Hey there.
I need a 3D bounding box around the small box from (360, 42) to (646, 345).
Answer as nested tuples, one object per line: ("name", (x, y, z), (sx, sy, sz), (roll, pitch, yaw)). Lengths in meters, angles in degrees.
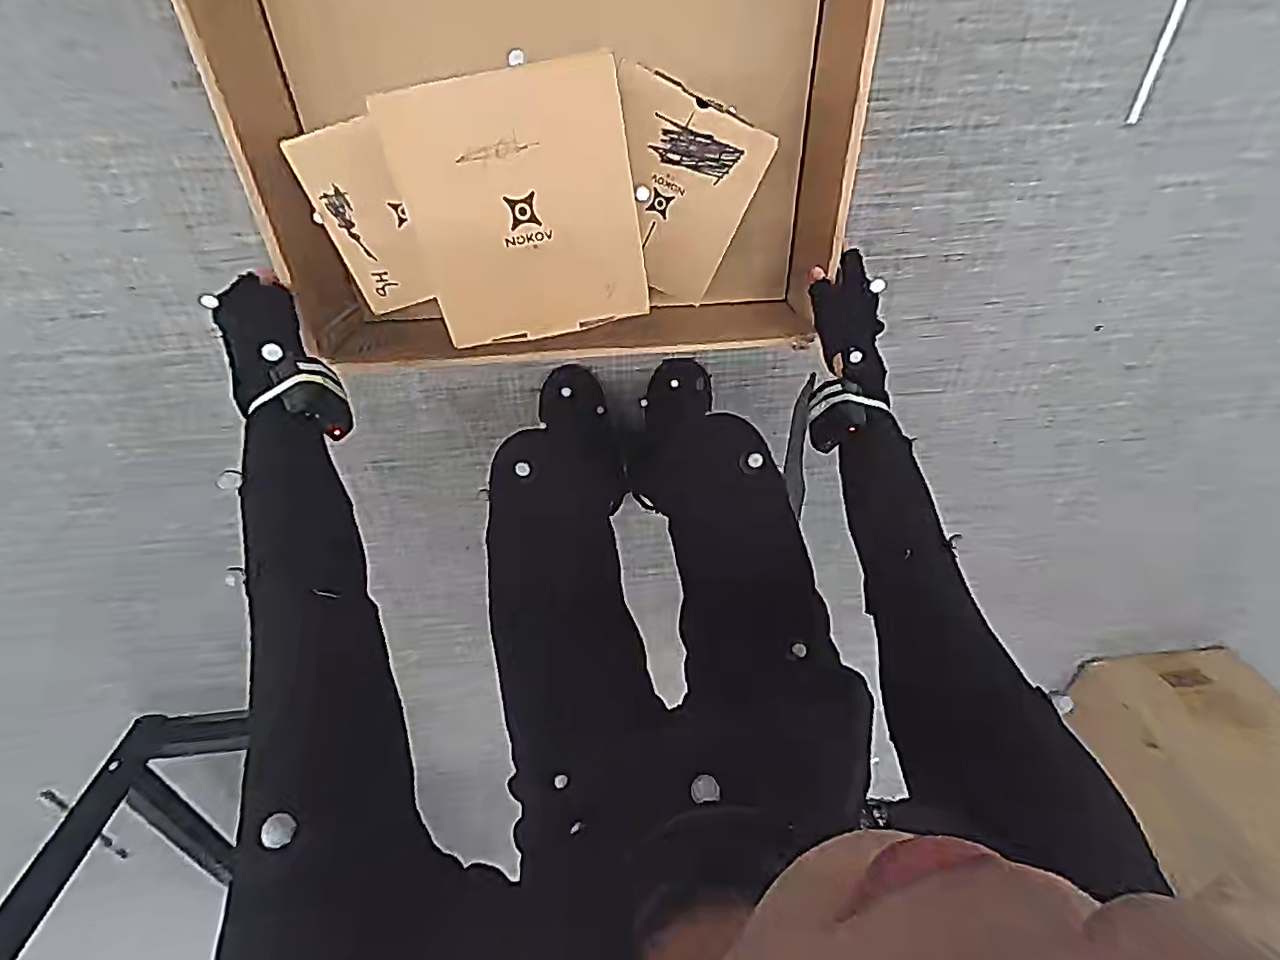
("small box", (-0.093, -0.237, 0.453), (0.168, 0.176, 0.179), (-11, 124, 0))
